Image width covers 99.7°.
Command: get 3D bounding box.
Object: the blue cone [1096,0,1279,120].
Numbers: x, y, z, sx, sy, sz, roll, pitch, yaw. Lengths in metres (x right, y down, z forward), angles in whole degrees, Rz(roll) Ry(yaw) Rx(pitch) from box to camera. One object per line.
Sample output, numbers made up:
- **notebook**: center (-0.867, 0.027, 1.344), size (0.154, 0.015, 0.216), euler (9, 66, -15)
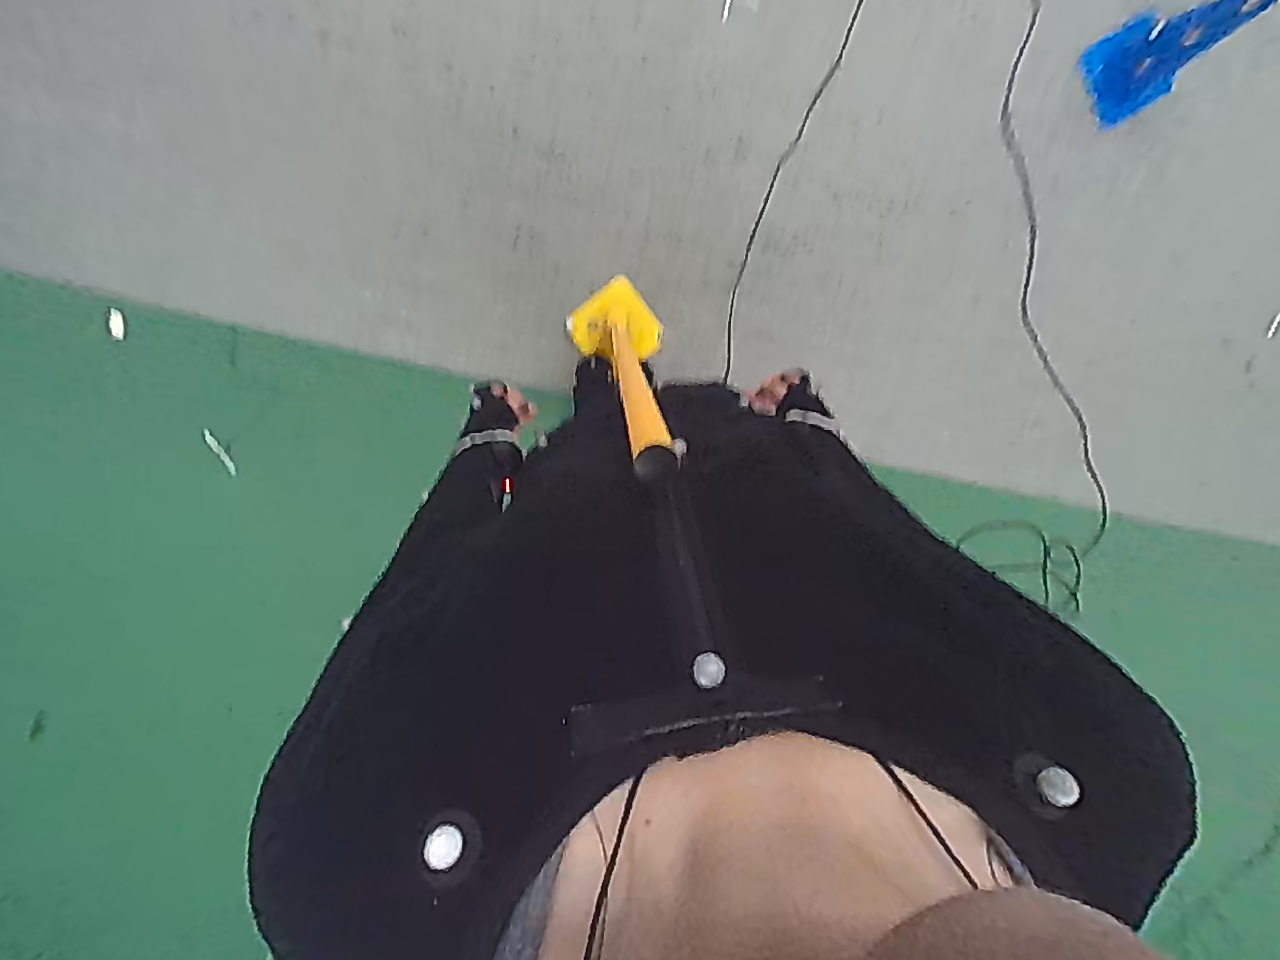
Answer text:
- **blue cone**: center (1.234, -0.984, 1.162), size (0.193, 0.380, 0.192), euler (-33, 102, 2)
